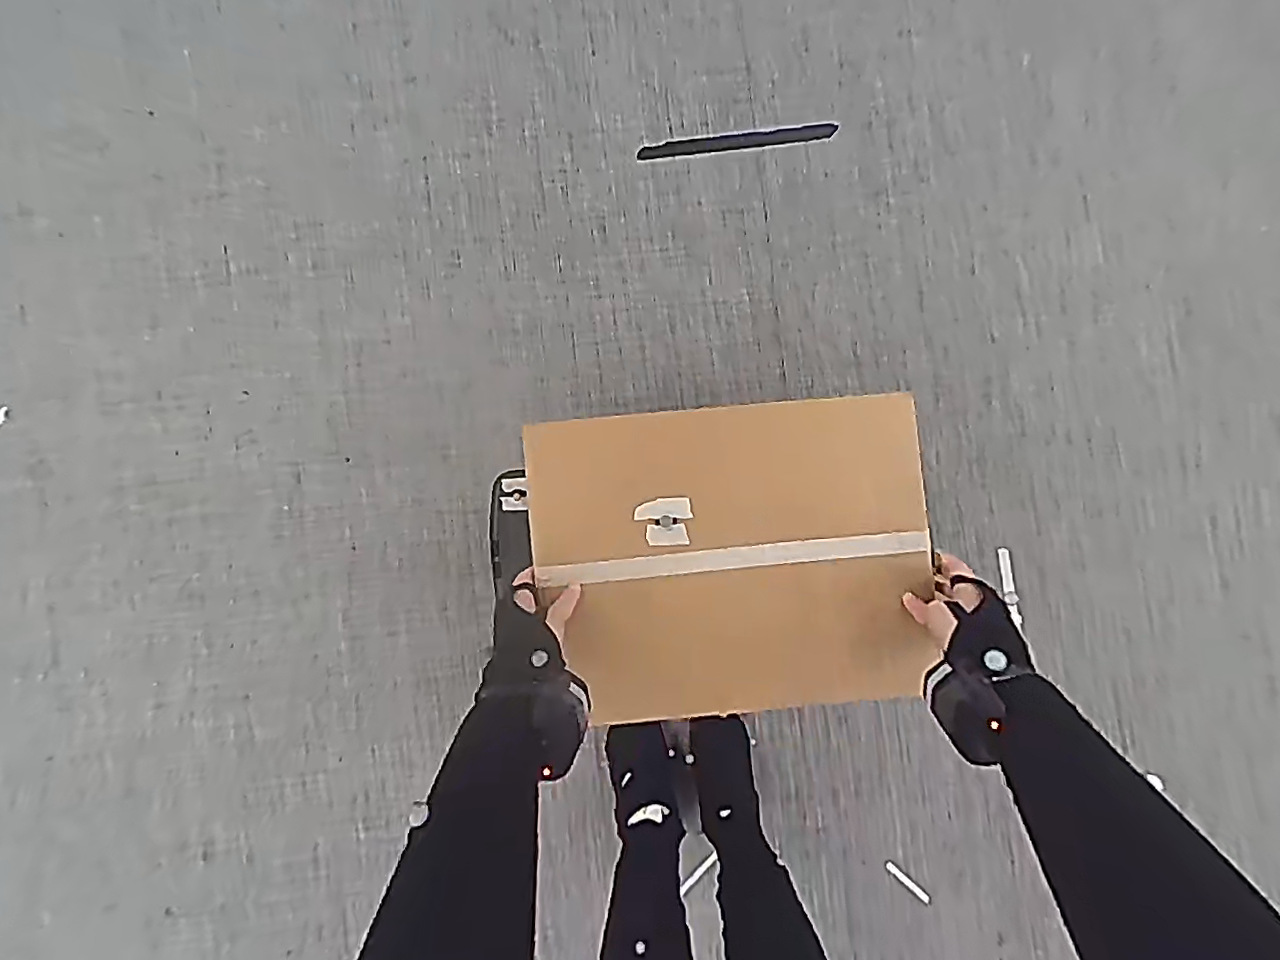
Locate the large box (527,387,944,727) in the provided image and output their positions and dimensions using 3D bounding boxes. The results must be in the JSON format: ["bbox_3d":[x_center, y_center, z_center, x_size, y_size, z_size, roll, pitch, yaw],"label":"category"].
[{"bbox_3d":[0.098,0.080,0.696,0.408,0.320,0.320,-5,88,0],"label":"large box"}]

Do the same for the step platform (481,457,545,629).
[{"bbox_3d":[0.081,0.104,0.933,0.684,0.204,0.286,0,89,0],"label":"step platform"}]
